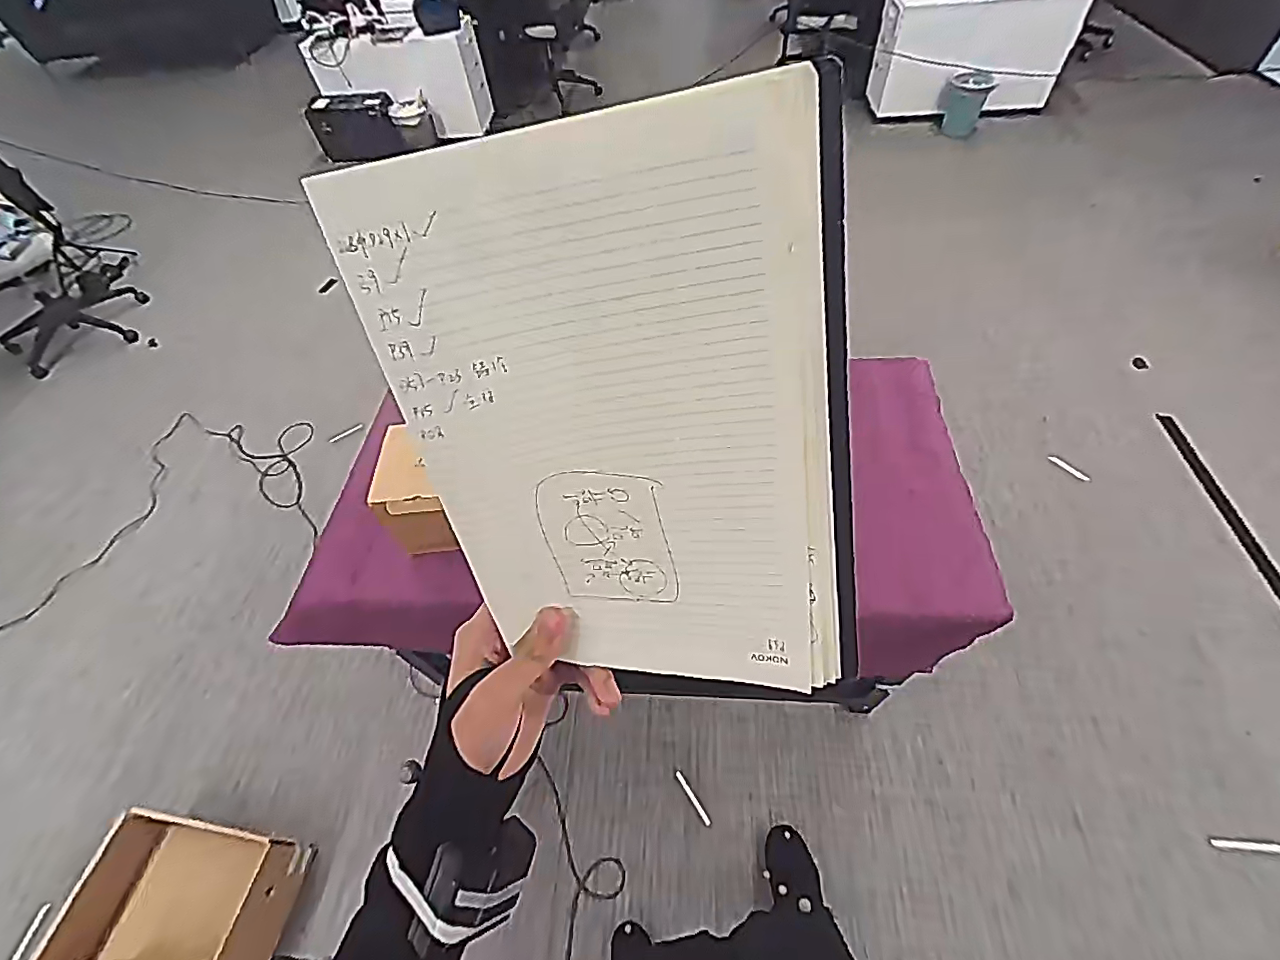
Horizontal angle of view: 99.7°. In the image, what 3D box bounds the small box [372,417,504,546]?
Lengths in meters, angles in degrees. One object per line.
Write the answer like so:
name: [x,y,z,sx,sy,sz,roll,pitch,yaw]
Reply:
small box: [-0.353,0.009,0.986,0.168,0.176,0.179,-5,53,1]
